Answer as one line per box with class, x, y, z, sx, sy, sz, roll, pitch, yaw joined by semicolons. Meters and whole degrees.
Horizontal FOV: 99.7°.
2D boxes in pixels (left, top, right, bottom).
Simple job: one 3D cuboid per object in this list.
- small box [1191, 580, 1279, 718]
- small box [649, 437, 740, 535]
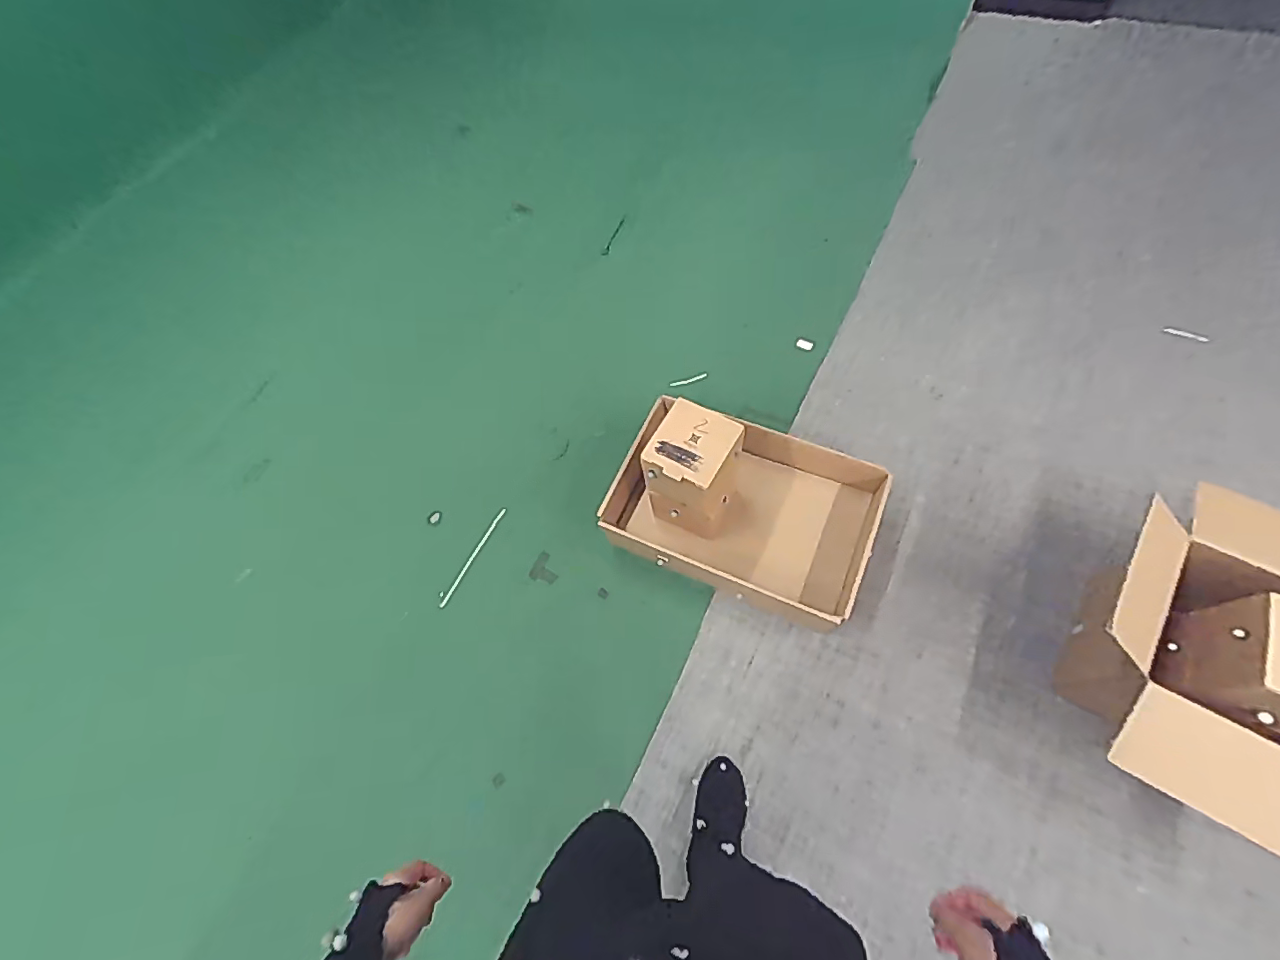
small box;1.141;0.307;0.960;0.168;0.176;0.179;20;70;19
small box;0.142;0.021;1.384;0.179;0.176;0.168;22;69;16
